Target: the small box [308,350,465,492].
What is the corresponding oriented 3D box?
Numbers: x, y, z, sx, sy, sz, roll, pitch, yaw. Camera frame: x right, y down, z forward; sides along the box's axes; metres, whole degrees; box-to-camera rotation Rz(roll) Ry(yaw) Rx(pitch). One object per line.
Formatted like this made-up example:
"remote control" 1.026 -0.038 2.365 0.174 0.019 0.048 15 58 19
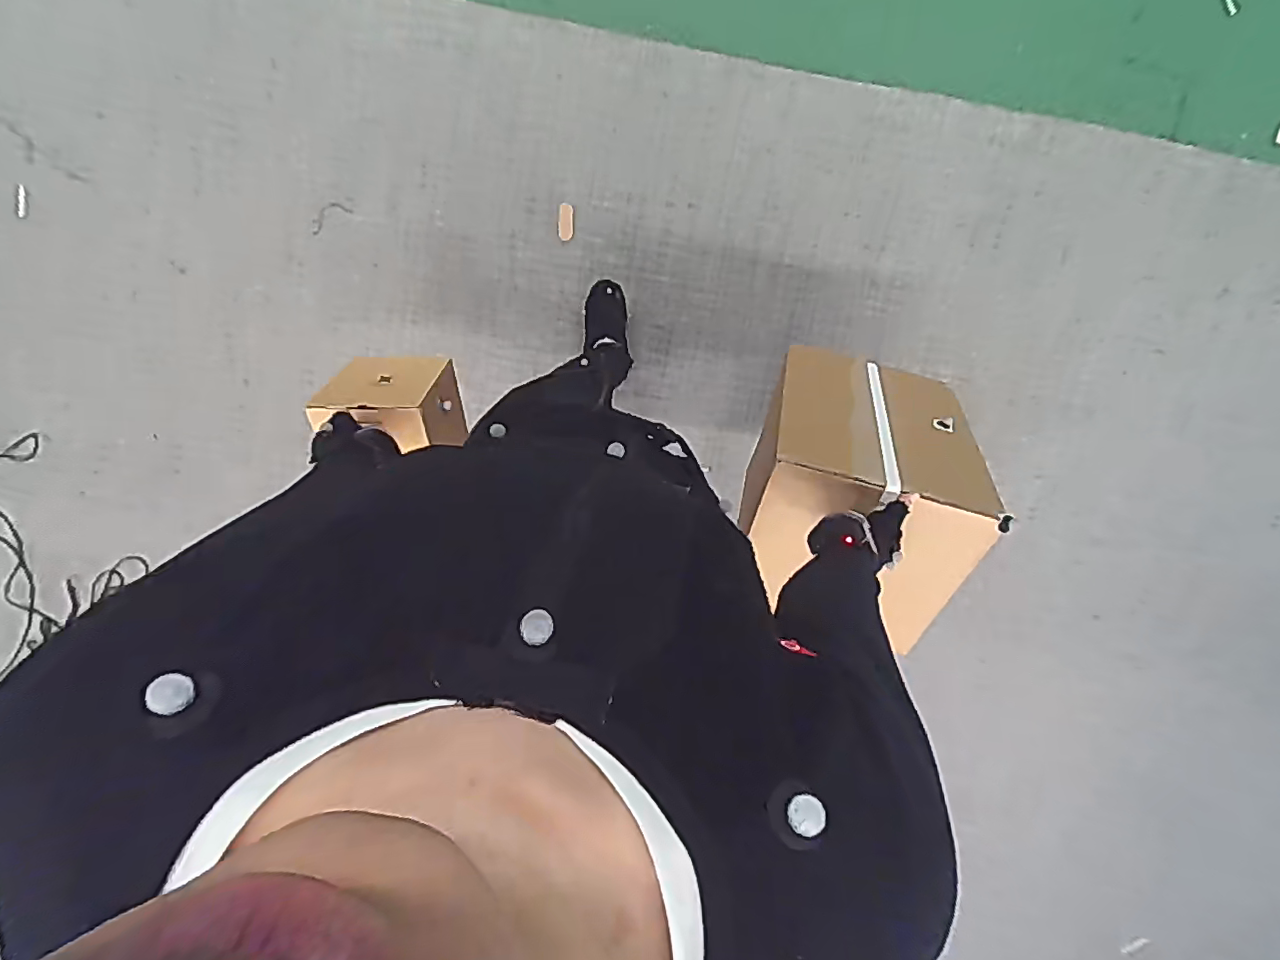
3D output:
"small box" -0.398 -0.099 0.889 0.168 0.179 0.176 0 129 -1
